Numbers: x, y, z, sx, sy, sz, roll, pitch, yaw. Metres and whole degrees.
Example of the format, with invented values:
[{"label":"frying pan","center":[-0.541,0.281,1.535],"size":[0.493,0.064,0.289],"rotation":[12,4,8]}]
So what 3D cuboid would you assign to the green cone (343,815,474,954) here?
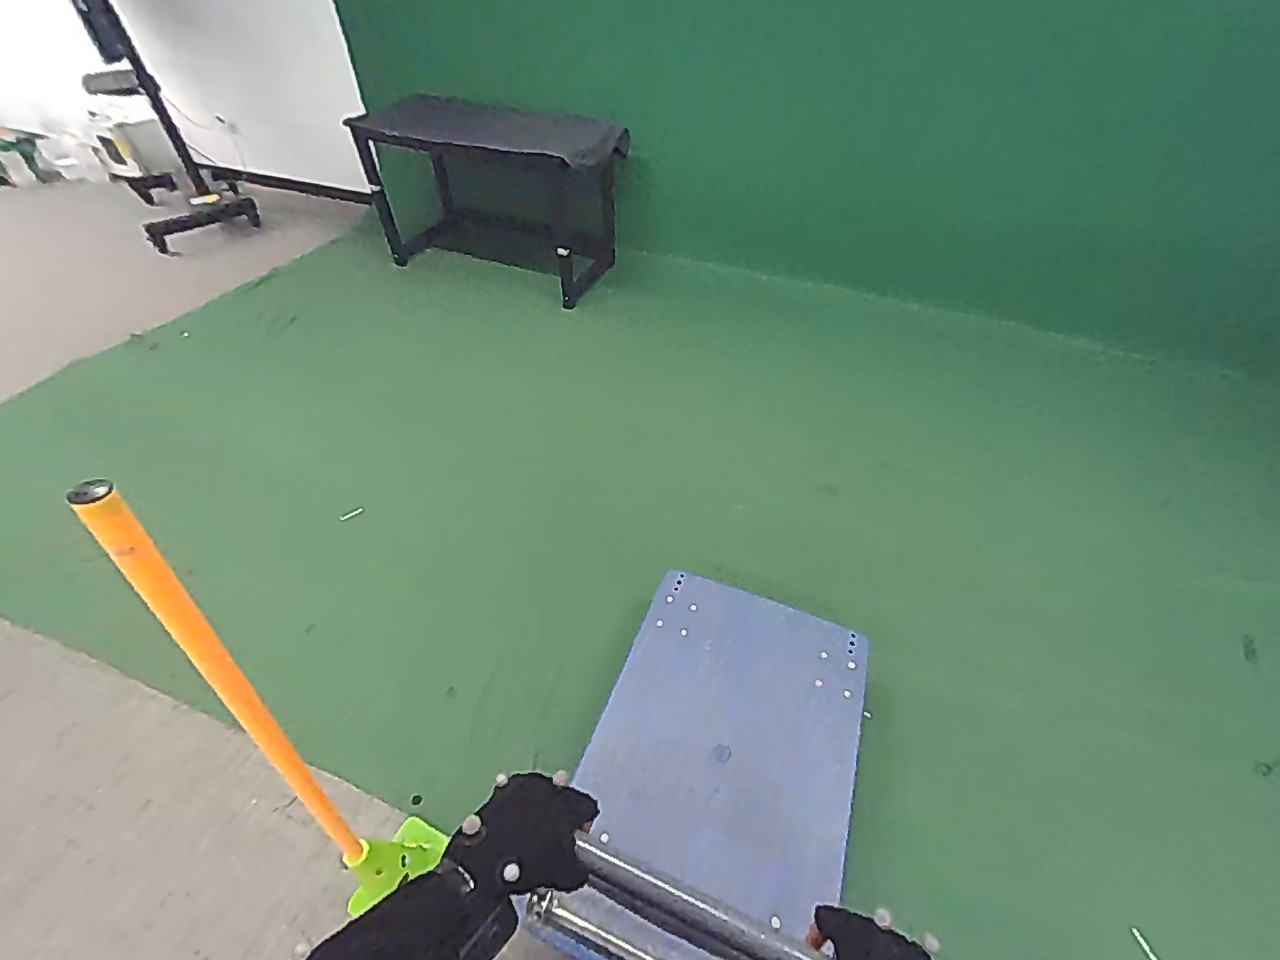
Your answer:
[{"label":"green cone","center":[-0.494,0.759,1.069],"size":[0.202,0.368,0.200],"rotation":[20,48,17]}]
